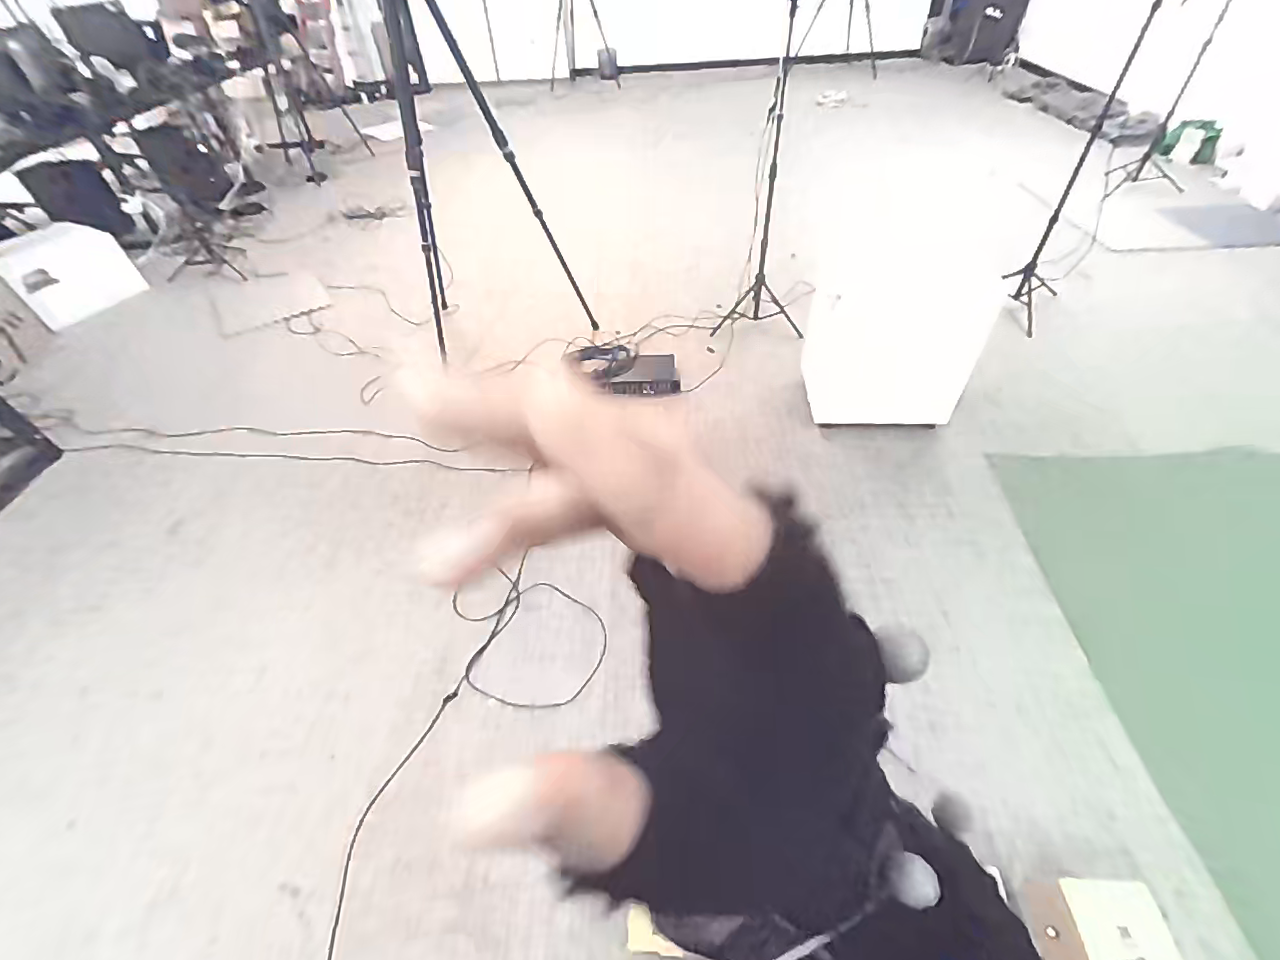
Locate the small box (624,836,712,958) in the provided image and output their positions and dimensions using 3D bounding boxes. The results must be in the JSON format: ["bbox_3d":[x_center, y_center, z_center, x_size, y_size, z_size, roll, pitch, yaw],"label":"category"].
[{"bbox_3d":[0.060,0.856,1.109,0.168,0.176,0.179,1,47,5],"label":"small box"}]

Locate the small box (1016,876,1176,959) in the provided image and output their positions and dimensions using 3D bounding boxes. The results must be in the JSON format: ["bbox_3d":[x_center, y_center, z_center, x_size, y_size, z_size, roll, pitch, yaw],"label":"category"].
[{"bbox_3d":[0.875,0.887,1.040,0.168,0.176,0.179,1,46,4],"label":"small box"}]

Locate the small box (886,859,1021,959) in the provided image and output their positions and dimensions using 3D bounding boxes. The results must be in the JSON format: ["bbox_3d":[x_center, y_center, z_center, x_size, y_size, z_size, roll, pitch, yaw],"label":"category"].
[{"bbox_3d":[0.607,0.873,1.067,0.168,0.176,0.179,2,47,4],"label":"small box"}]
